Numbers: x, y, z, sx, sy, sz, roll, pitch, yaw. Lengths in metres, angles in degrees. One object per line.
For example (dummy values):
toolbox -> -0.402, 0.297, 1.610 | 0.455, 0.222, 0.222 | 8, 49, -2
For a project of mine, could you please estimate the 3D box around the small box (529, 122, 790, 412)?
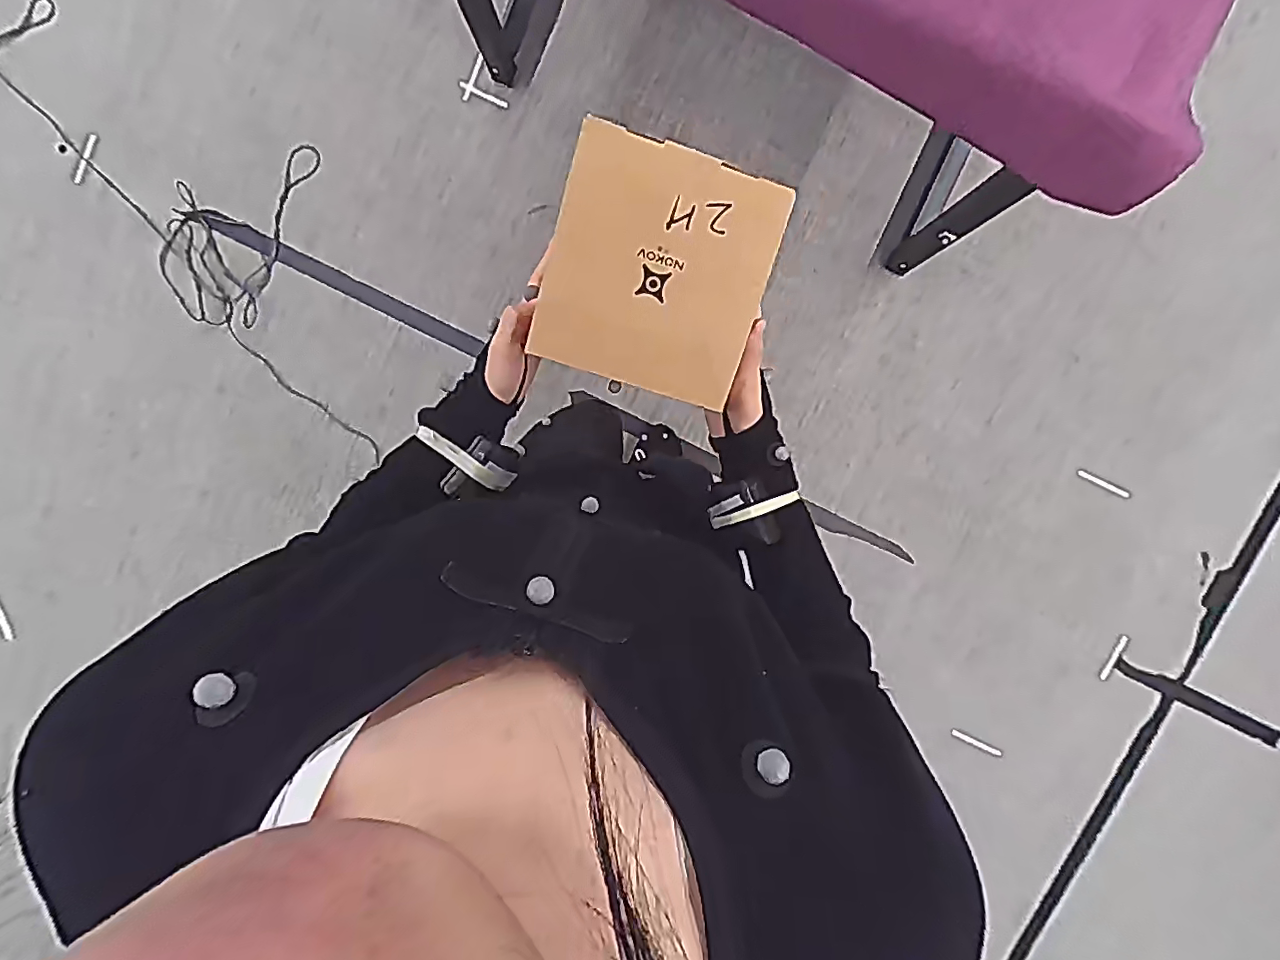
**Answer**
small box -> 0.010, -0.175, 0.496 | 0.168, 0.176, 0.179 | 16, 101, -7
